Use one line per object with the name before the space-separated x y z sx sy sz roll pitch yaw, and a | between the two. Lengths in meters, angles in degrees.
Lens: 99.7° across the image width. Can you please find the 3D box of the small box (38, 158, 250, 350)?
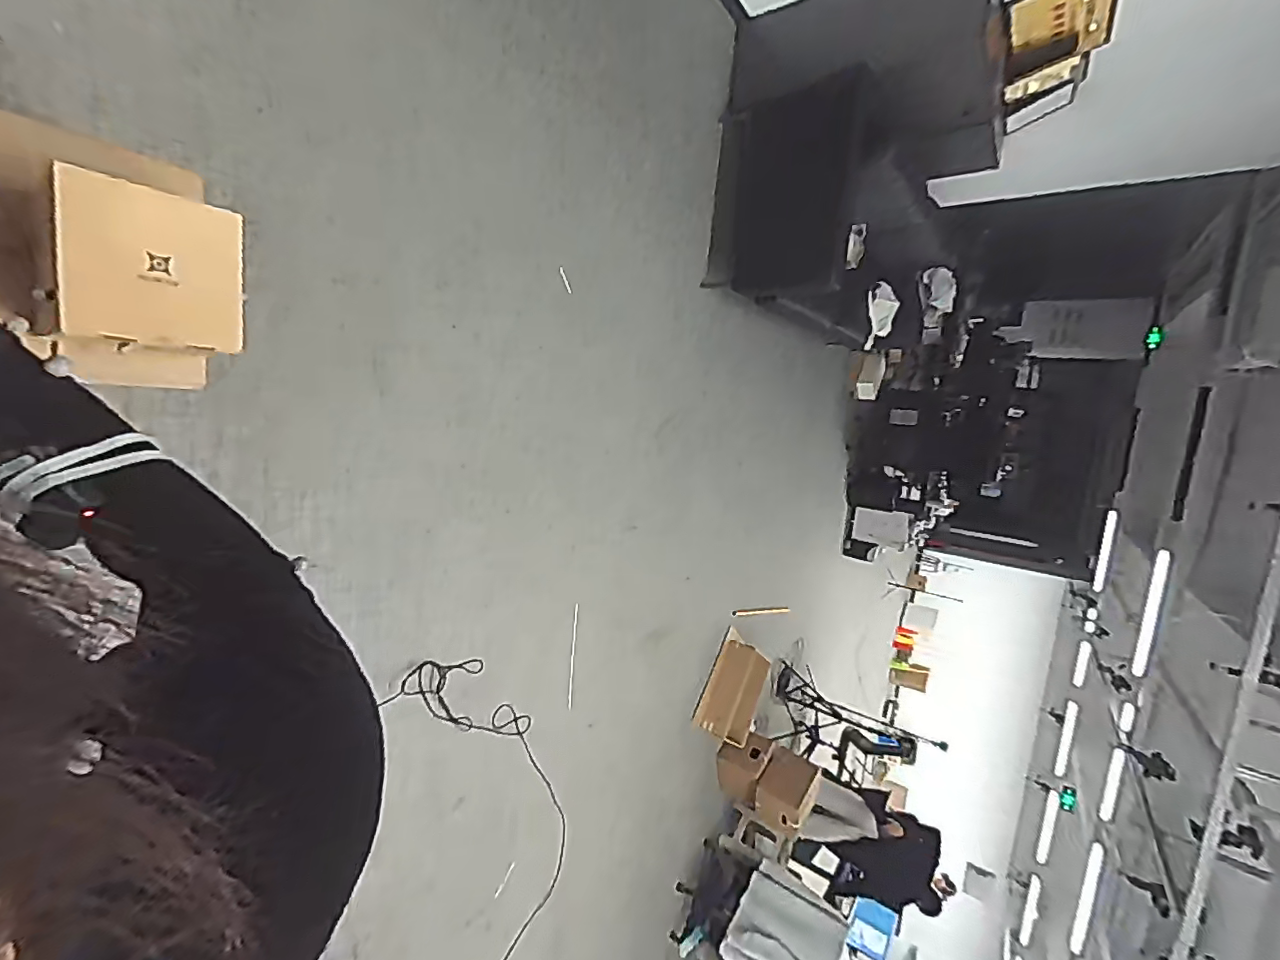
small box | -0.615 -0.263 0.674 0.168 0.176 0.179 -6 104 -53
